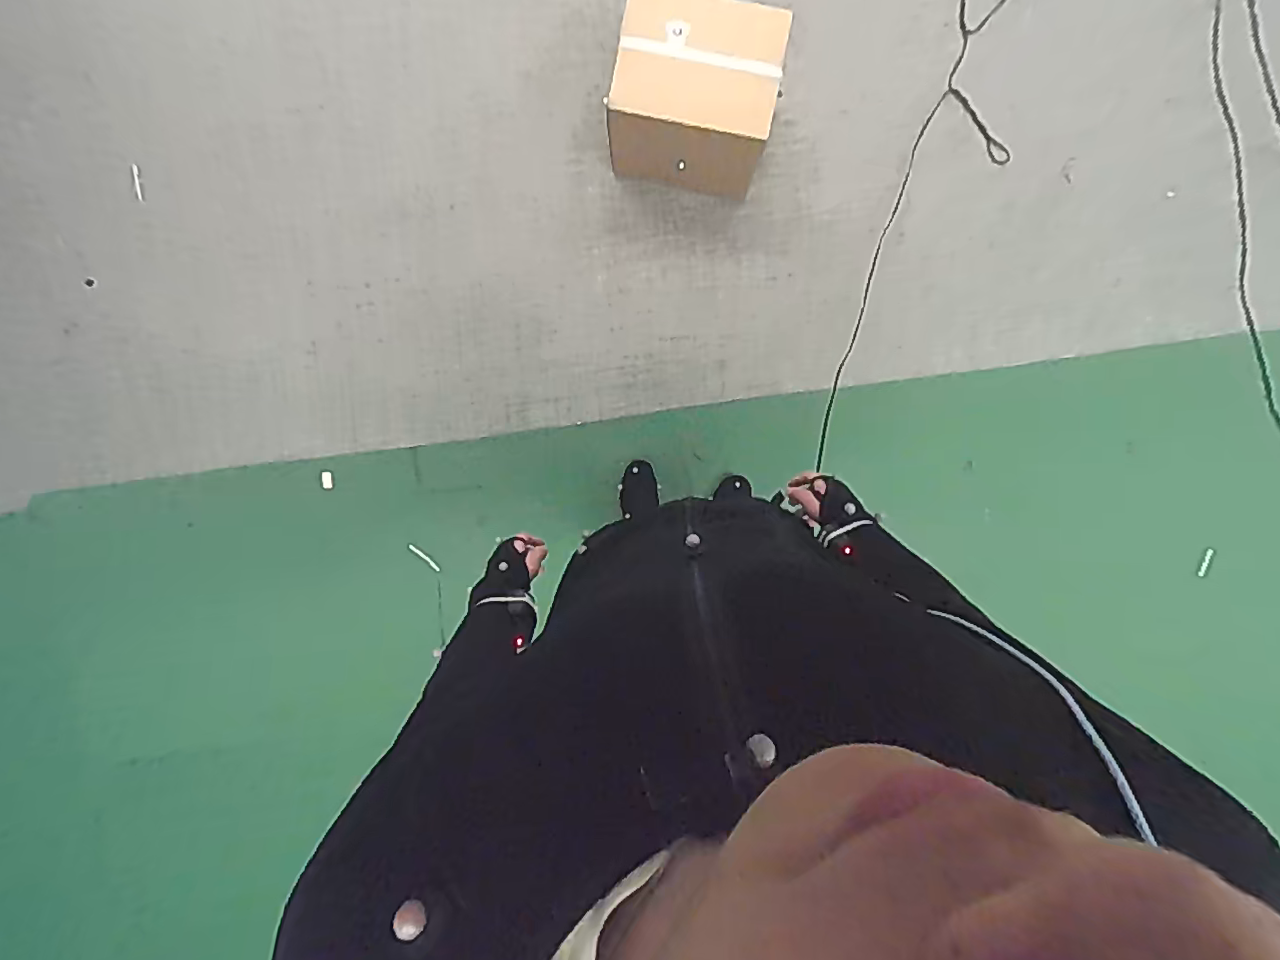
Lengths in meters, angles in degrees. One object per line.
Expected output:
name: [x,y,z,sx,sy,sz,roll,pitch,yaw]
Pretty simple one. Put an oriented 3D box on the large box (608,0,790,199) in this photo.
large box: [0.148,-1.012,1.463,0.408,0.320,0.320,11,92,1]
